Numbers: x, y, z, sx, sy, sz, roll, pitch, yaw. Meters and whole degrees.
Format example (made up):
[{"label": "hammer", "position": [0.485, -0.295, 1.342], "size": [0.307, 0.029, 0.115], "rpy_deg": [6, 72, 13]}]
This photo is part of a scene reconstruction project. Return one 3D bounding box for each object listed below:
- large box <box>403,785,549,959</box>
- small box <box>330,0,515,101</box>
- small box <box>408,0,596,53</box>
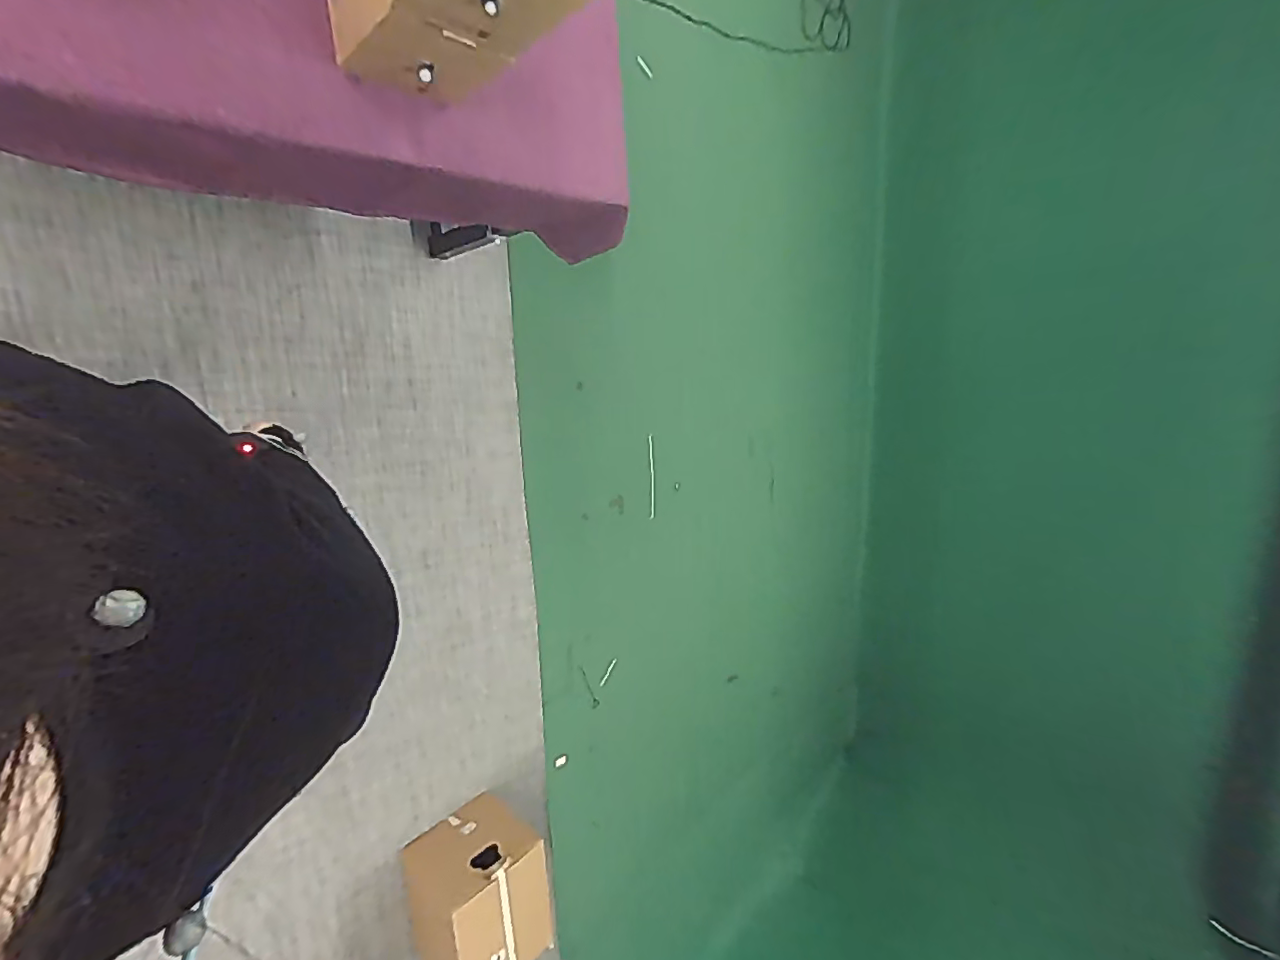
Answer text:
[{"label": "large box", "position": [-0.521, 1.298, 1.731], "size": [0.320, 0.320, 0.408], "rpy_deg": [-16, 109, -46]}, {"label": "small box", "position": [-0.280, -0.623, 0.688], "size": [0.168, 0.176, 0.179], "rpy_deg": [-16, 108, -45]}, {"label": "small box", "position": [-0.162, -0.605, 0.574], "size": [0.168, 0.176, 0.179], "rpy_deg": [-16, 108, -45]}]
